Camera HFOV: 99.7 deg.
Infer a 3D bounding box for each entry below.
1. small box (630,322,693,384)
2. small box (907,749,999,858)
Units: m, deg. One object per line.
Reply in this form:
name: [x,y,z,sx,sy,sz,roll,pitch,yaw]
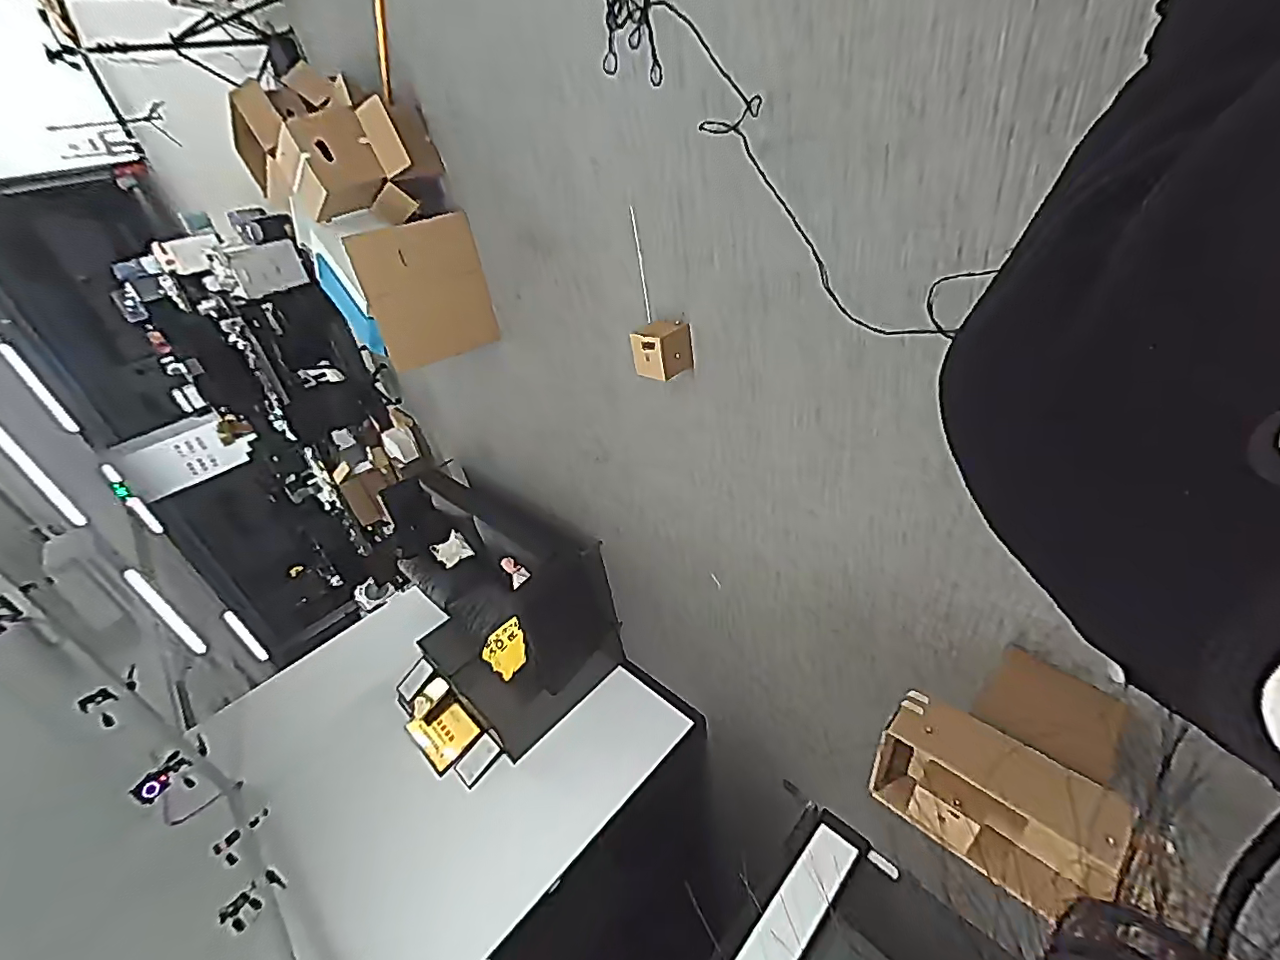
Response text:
small box: [0.089,-0.502,2.112,0.168,0.176,0.179,24,137,41]
small box: [0.890,0.914,1.537,0.168,0.176,0.179,25,138,37]
